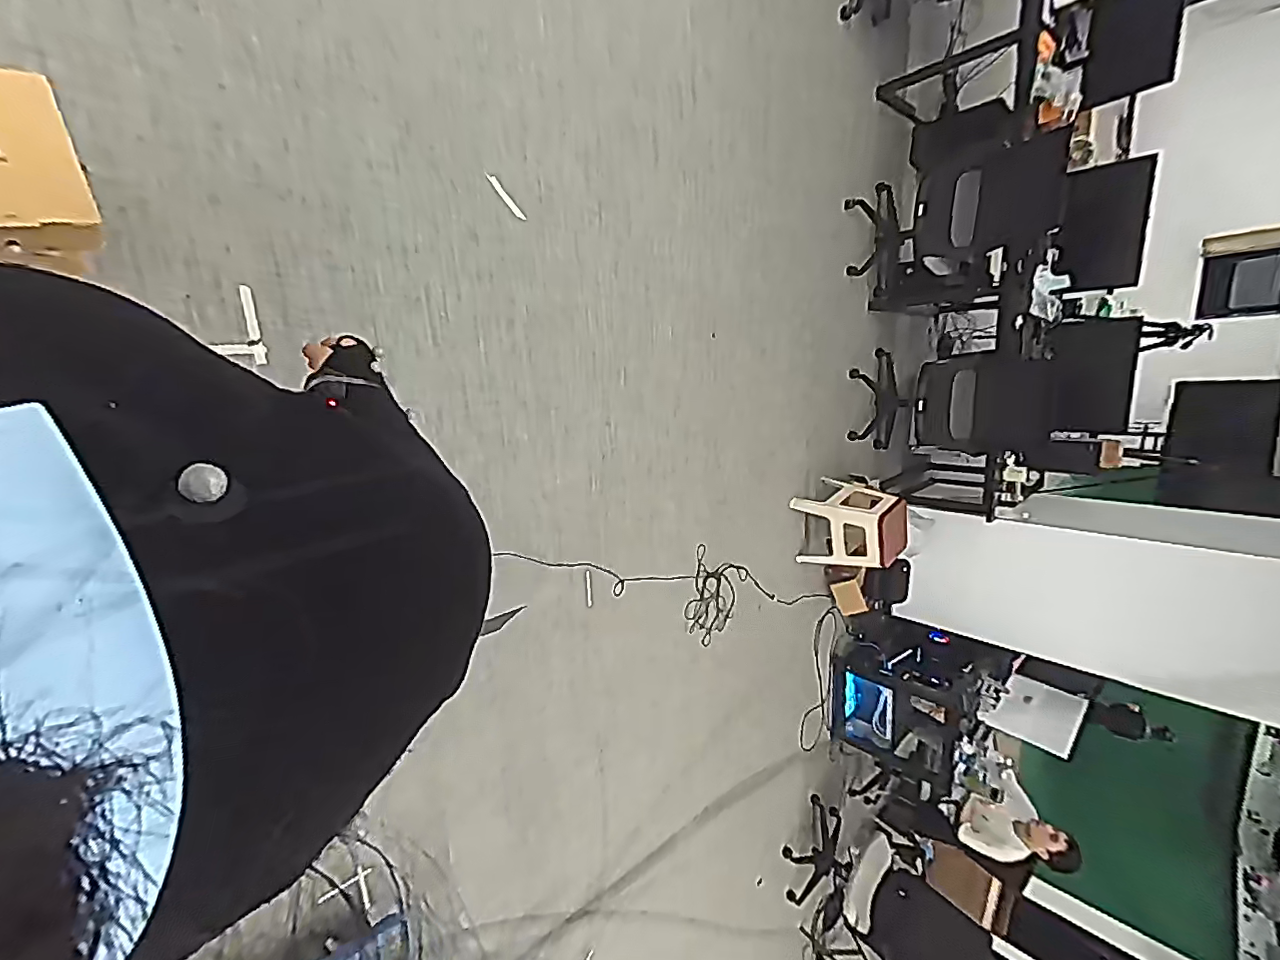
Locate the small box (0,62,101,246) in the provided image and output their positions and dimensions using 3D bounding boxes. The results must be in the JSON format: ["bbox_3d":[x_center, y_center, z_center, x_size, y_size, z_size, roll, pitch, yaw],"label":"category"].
[{"bbox_3d":[-0.838,-0.412,0.695,0.168,0.176,0.179,-22,112,-40],"label":"small box"}]

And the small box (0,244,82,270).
[{"bbox_3d":[-0.960,-0.428,0.803,0.168,0.176,0.179,-7,102,-42],"label":"small box"}]
